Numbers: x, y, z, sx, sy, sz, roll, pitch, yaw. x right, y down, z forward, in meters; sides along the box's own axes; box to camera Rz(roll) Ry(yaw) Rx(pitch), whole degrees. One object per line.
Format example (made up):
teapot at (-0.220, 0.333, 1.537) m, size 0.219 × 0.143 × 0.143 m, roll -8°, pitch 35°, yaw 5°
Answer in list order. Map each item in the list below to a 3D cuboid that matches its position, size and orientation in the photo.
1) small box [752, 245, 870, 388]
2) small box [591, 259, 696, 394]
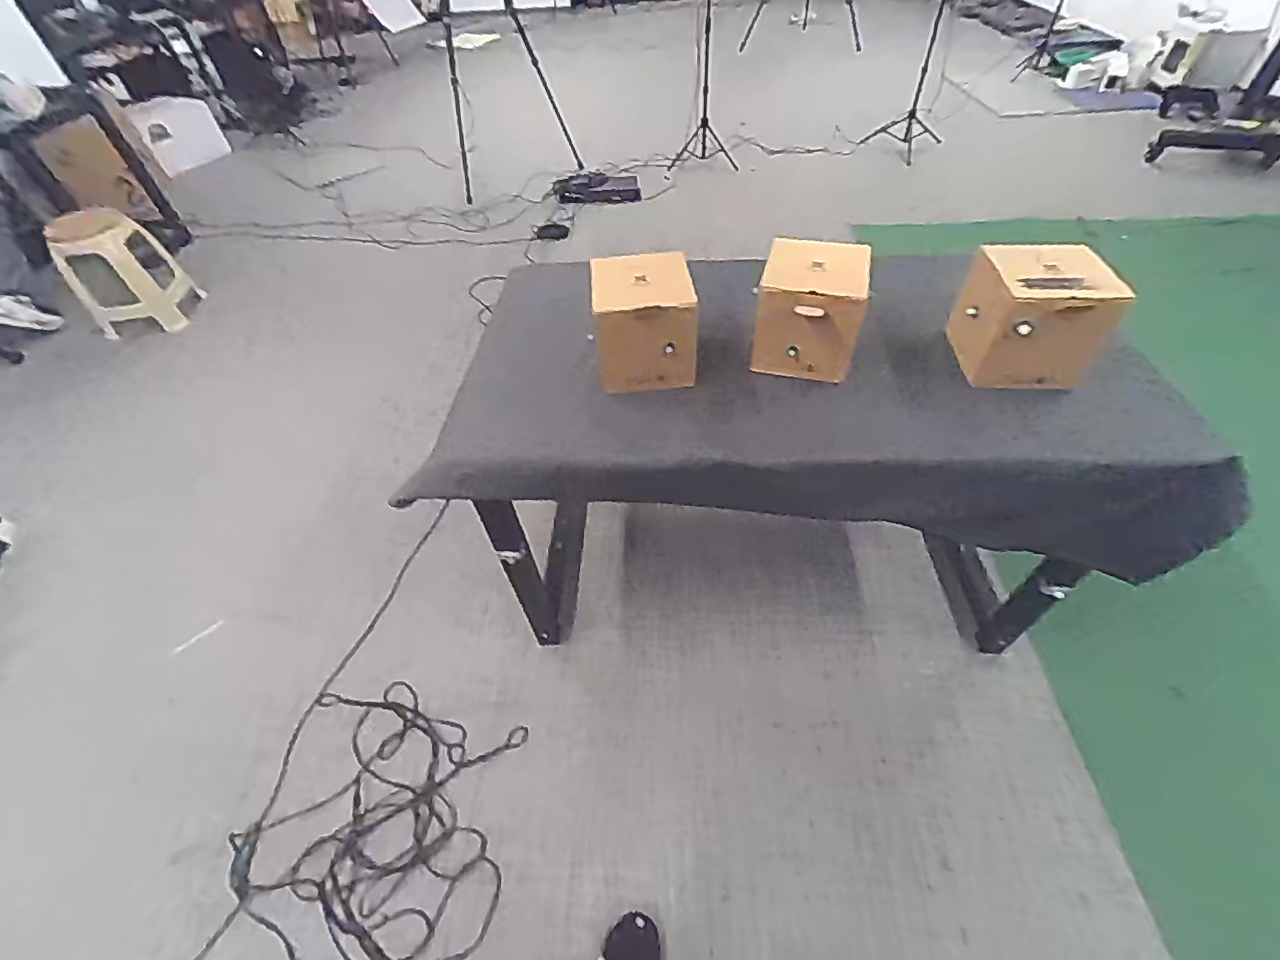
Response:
small box at (0.298, -0.289, 0.957) m, size 0.168 × 0.176 × 0.179 m, roll 11°, pitch 50°, yaw 13°
small box at (0.006, -0.264, 0.955) m, size 0.168 × 0.176 × 0.179 m, roll -5°, pitch 47°, yaw -2°
